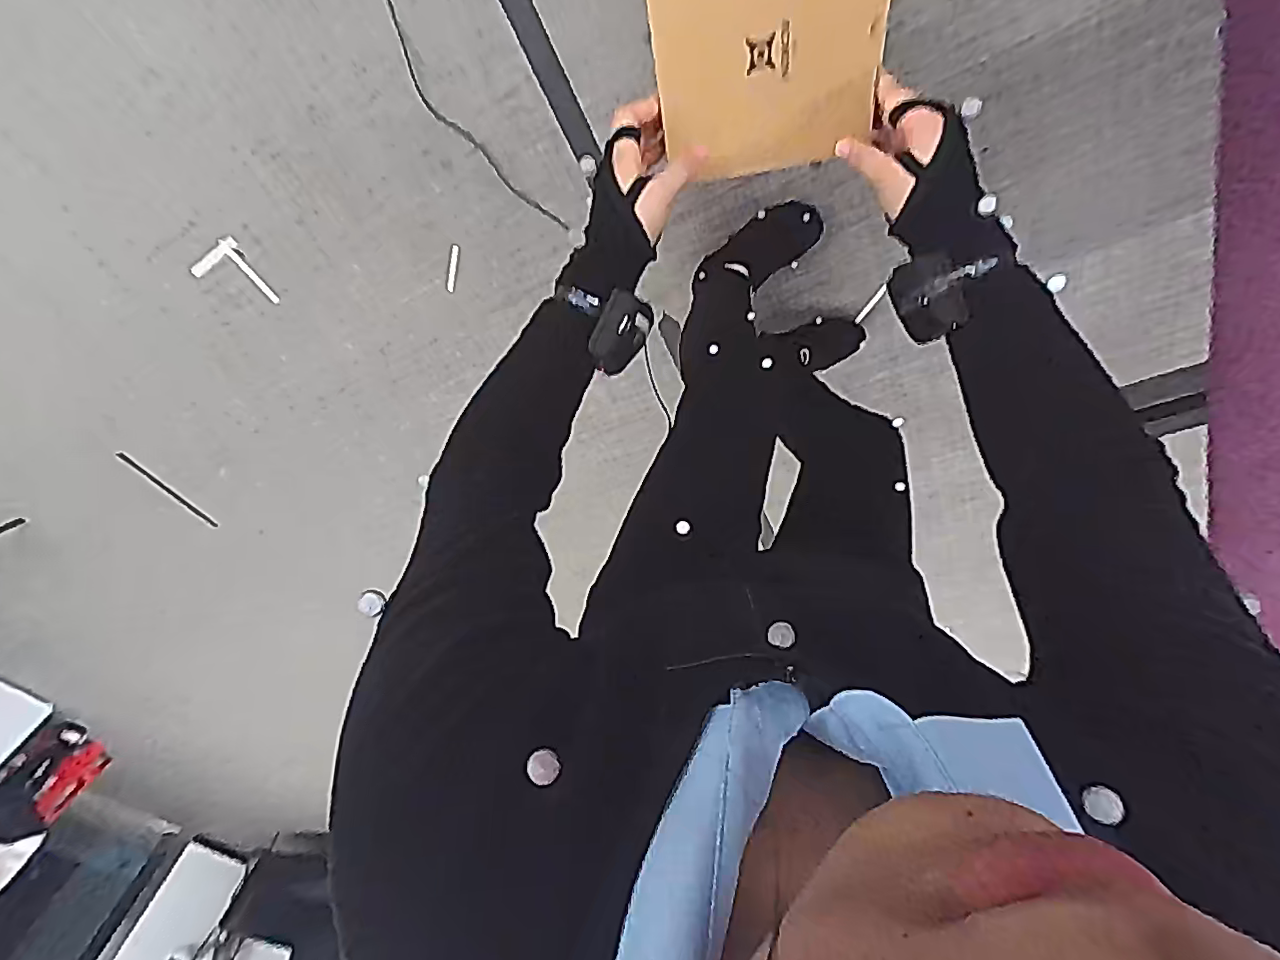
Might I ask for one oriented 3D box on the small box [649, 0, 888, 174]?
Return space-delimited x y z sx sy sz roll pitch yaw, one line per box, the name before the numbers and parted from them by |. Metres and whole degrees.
small box | 0.102 -0.395 0.474 0.179 0.176 0.168 -7 135 8
